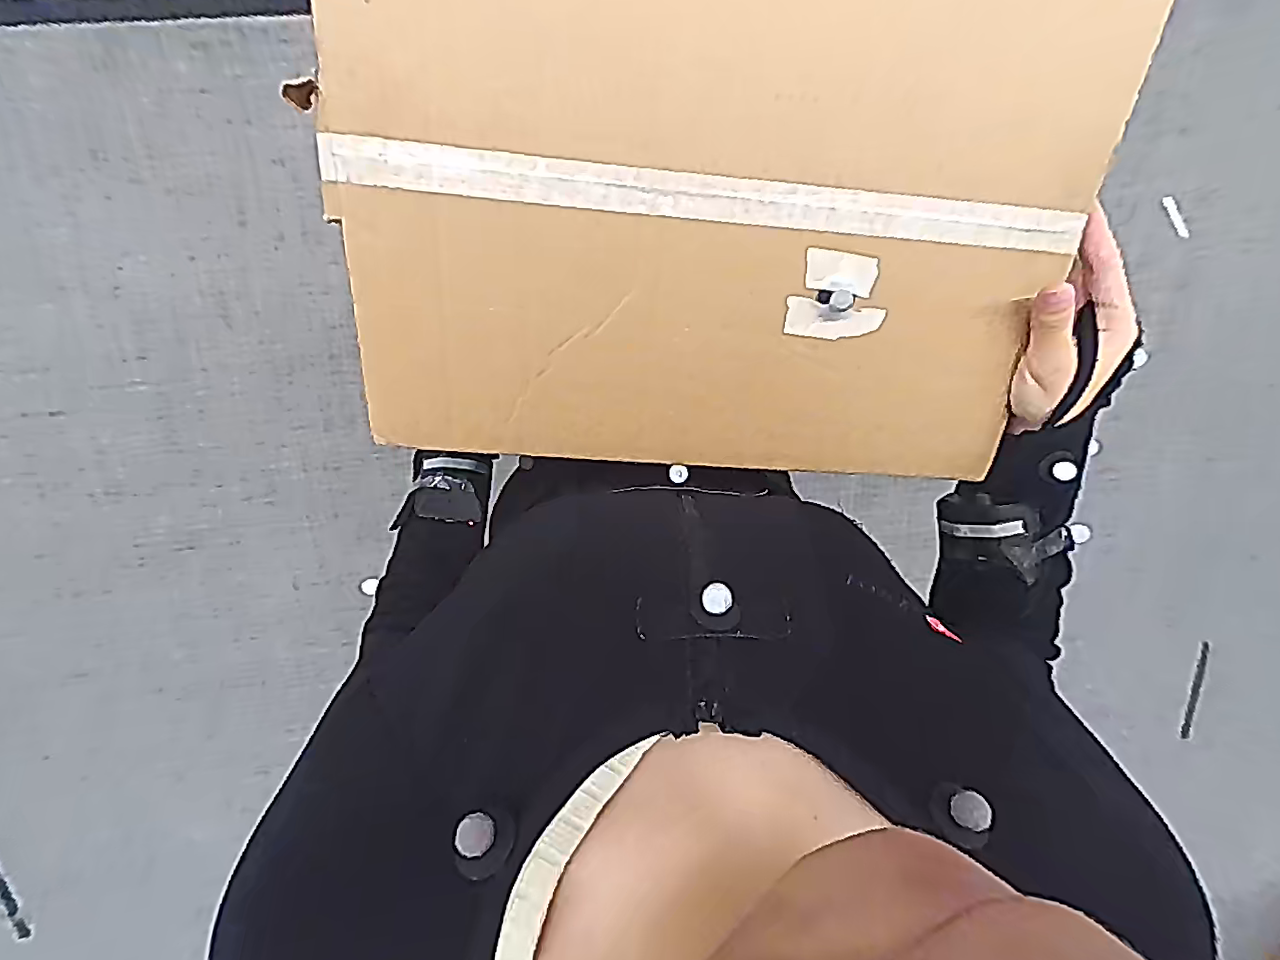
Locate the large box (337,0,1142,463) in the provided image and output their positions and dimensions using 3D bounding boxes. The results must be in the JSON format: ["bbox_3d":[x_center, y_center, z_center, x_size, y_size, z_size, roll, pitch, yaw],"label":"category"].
[{"bbox_3d":[0.037,-0.216,0.433,0.408,0.320,0.320,2,116,-7],"label":"large box"}]
